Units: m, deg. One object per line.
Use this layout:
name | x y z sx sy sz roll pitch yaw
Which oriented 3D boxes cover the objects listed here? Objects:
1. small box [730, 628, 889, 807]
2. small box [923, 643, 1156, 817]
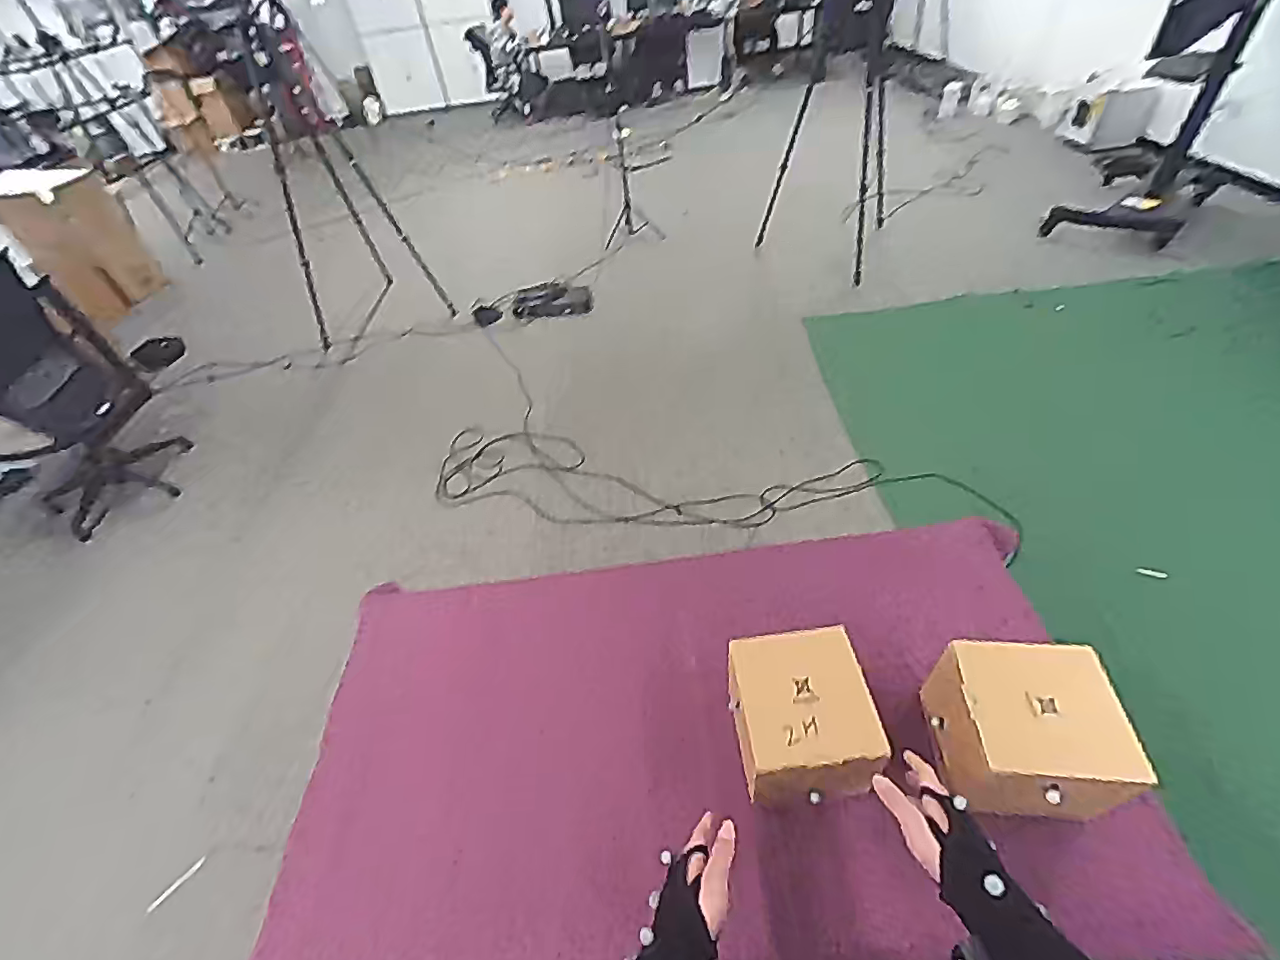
small box | 0.221 0.335 0.762 0.168 0.176 0.179 -8 46 2
small box | 0.504 0.333 0.719 0.179 0.176 0.168 -1 47 11
